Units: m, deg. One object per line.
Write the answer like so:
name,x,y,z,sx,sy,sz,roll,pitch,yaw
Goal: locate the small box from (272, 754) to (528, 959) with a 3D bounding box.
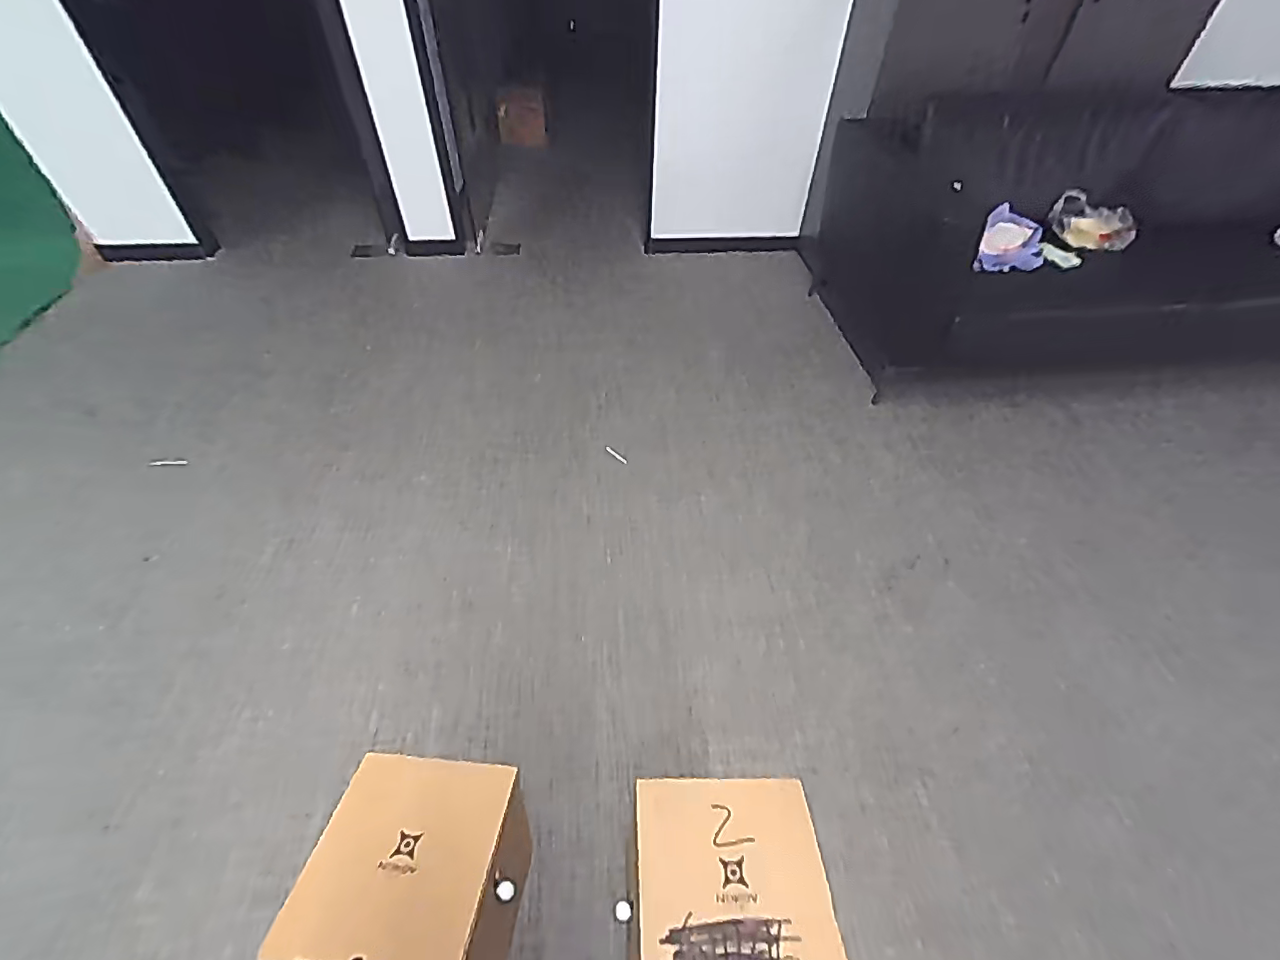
small box,-0.217,0.416,0.550,0.168,0.176,0.179,3,33,4
